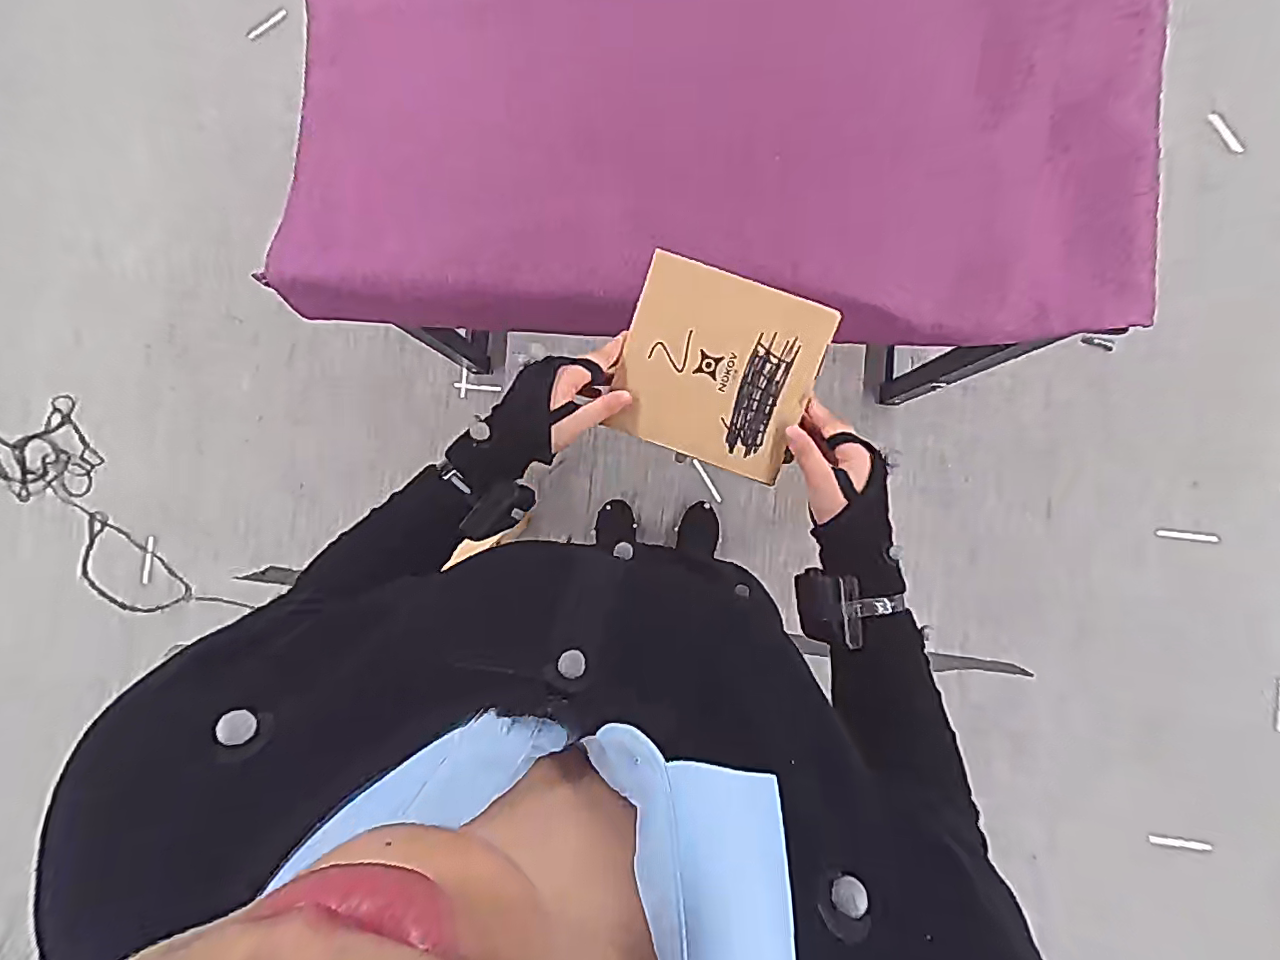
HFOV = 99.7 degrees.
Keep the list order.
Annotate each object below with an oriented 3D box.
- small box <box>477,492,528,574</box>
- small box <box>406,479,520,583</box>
[{"bbox_3d":[-0.419,0.128,1.442,0.168,0.176,0.179,28,89,3],"label":"small box"},{"bbox_3d":[-0.402,0.115,1.276,0.179,0.176,0.168,-41,86,0],"label":"small box"}]
